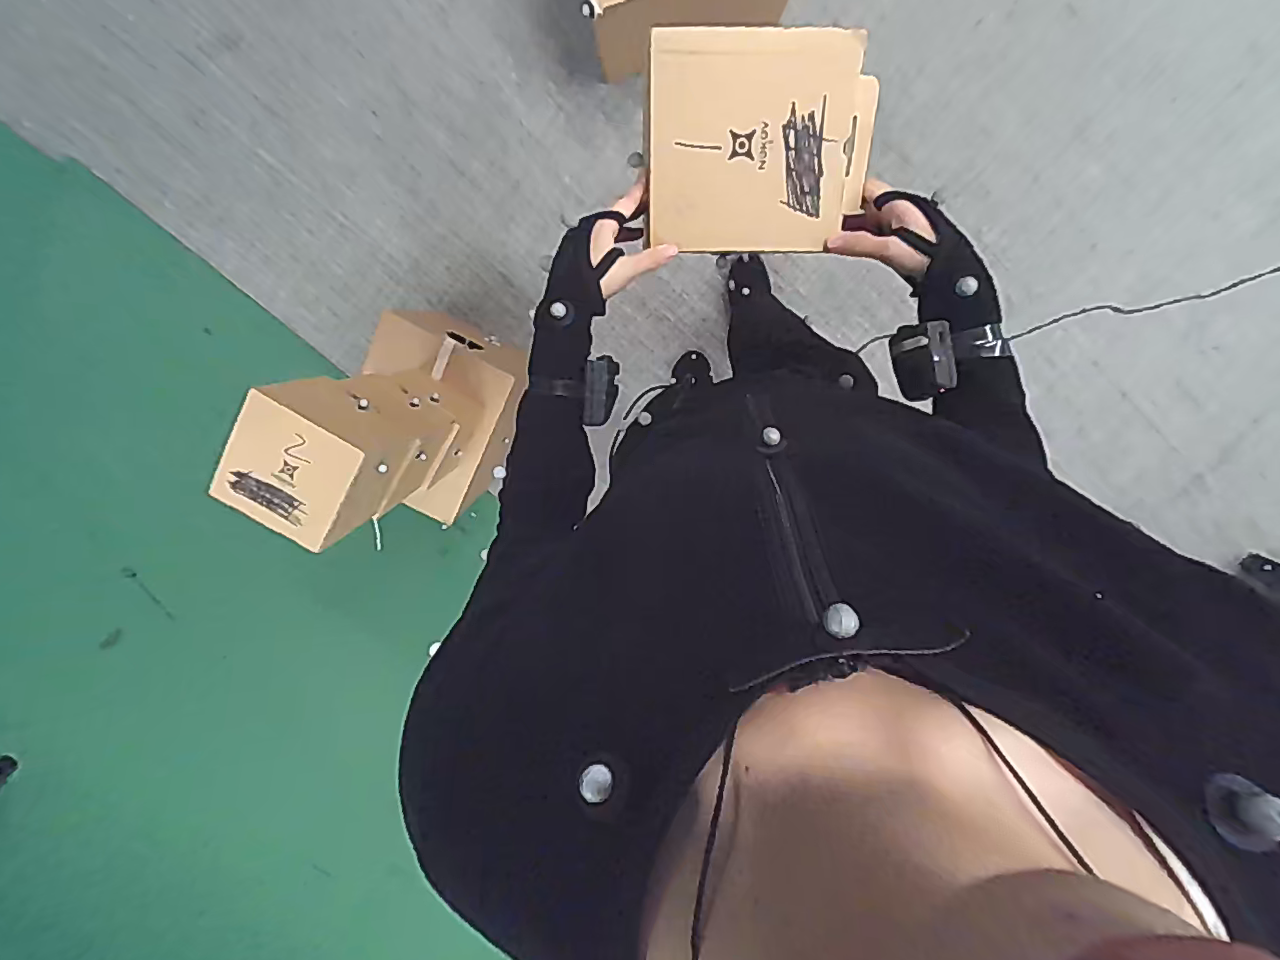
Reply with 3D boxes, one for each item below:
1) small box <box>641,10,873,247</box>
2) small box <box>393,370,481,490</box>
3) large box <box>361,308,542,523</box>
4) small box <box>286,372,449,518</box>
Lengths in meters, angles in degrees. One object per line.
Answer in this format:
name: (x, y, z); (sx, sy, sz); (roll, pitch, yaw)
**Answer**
small box: (0.093, -0.318, 0.524); (0.179, 0.176, 0.168); (0, 112, -2)
small box: (-0.455, -0.111, 1.108); (0.179, 0.176, 0.168); (32, 105, -8)
large box: (-0.484, -0.176, 1.347); (0.320, 0.320, 0.408); (27, 108, -5)
small box: (-0.465, -0.069, 0.951); (0.168, 0.176, 0.179); (33, 105, -8)
